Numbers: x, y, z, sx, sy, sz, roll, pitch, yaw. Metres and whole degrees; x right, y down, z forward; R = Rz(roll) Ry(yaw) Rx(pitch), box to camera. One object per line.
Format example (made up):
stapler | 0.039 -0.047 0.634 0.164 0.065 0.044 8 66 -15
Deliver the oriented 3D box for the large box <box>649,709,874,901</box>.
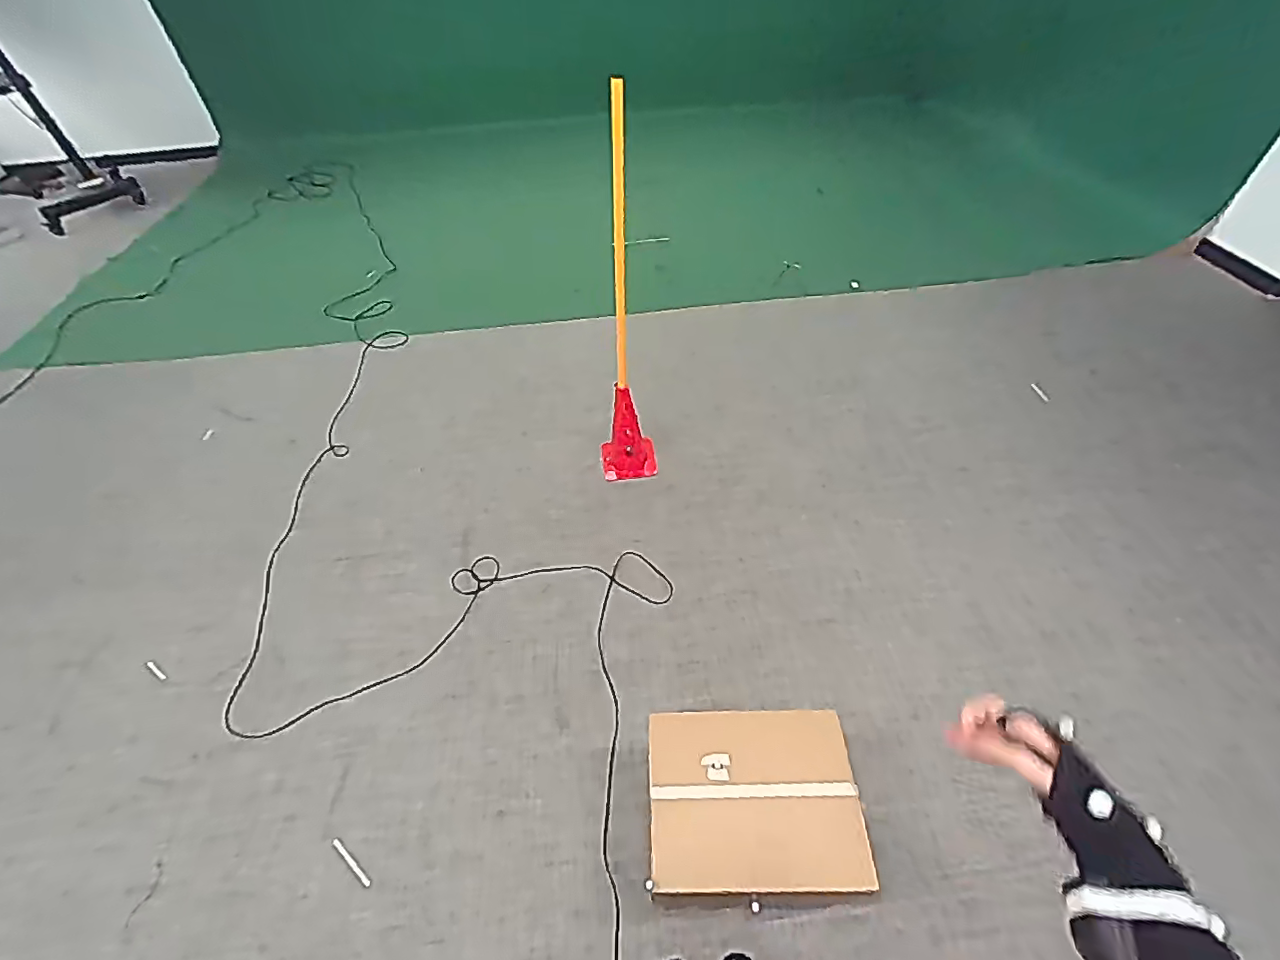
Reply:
large box | 0.230 0.713 1.177 0.408 0.320 0.320 -2 48 2
